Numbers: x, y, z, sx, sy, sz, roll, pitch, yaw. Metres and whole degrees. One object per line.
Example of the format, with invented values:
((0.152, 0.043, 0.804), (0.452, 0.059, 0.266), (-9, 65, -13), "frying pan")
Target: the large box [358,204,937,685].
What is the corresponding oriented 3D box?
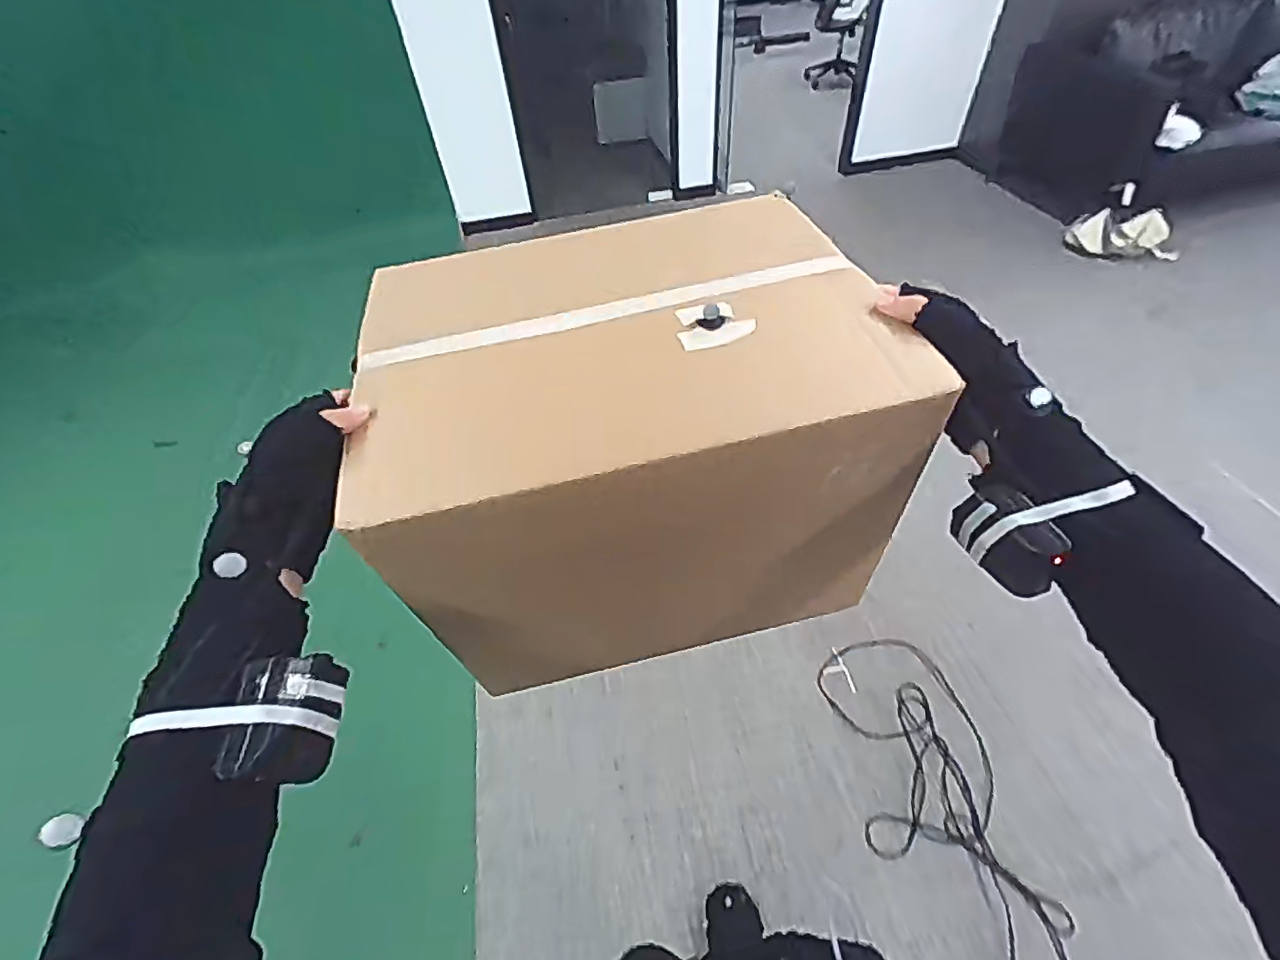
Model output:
((-0.009, -0.034, 0.559), (0.408, 0.320, 0.320), (-13, 51, -5), "large box")
